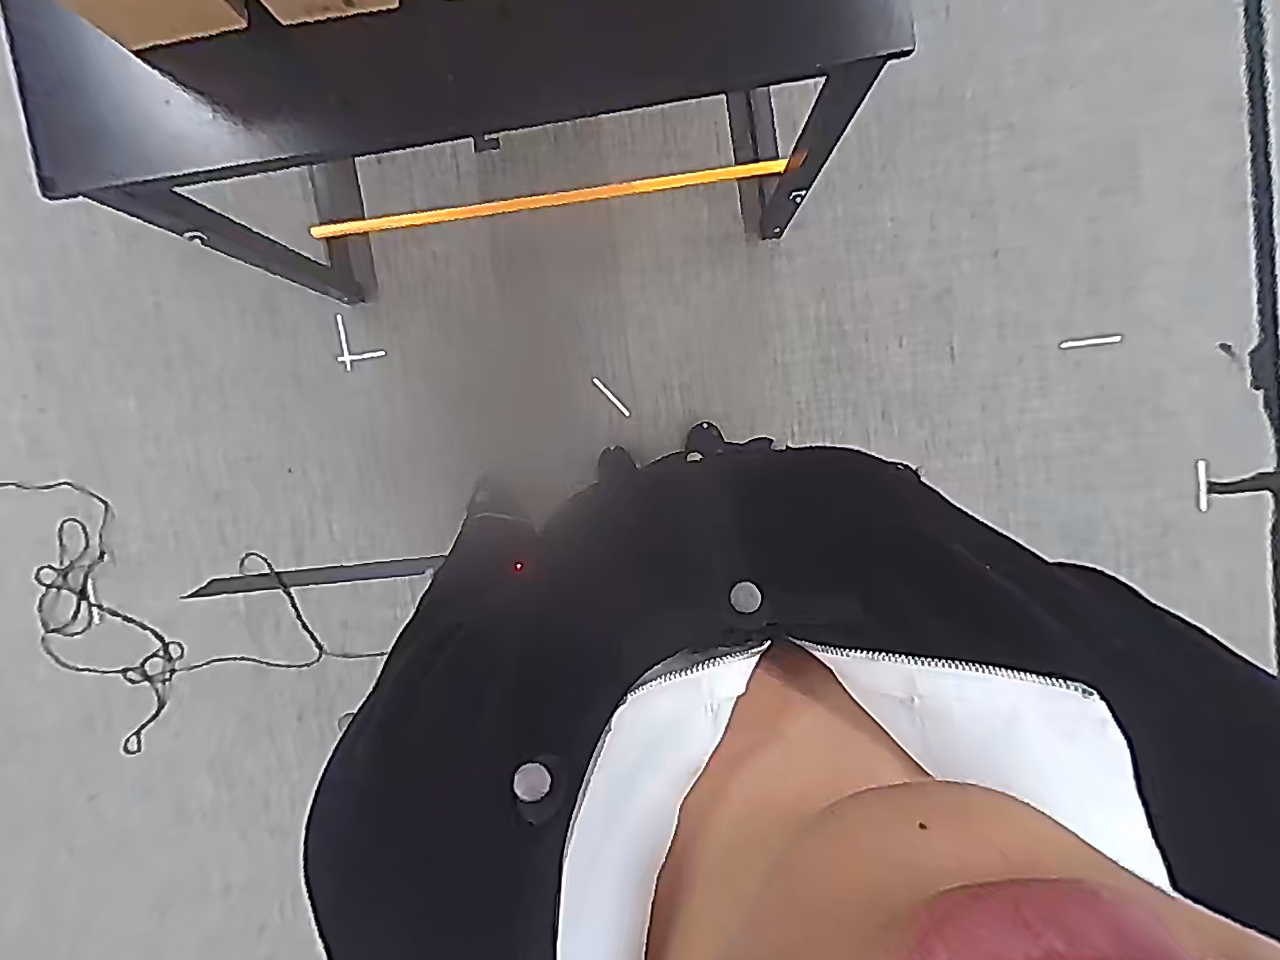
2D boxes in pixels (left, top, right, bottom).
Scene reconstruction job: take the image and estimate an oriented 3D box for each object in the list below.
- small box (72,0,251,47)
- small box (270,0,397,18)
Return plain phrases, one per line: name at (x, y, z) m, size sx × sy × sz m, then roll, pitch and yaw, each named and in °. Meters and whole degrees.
small box at (-0.625, -0.672, 0.653) m, size 0.179 × 0.176 × 0.168 m, roll -10°, pitch 95°, yaw 2°
small box at (-0.412, -0.701, 0.644) m, size 0.168 × 0.176 × 0.179 m, roll -7°, pitch 95°, yaw 3°
